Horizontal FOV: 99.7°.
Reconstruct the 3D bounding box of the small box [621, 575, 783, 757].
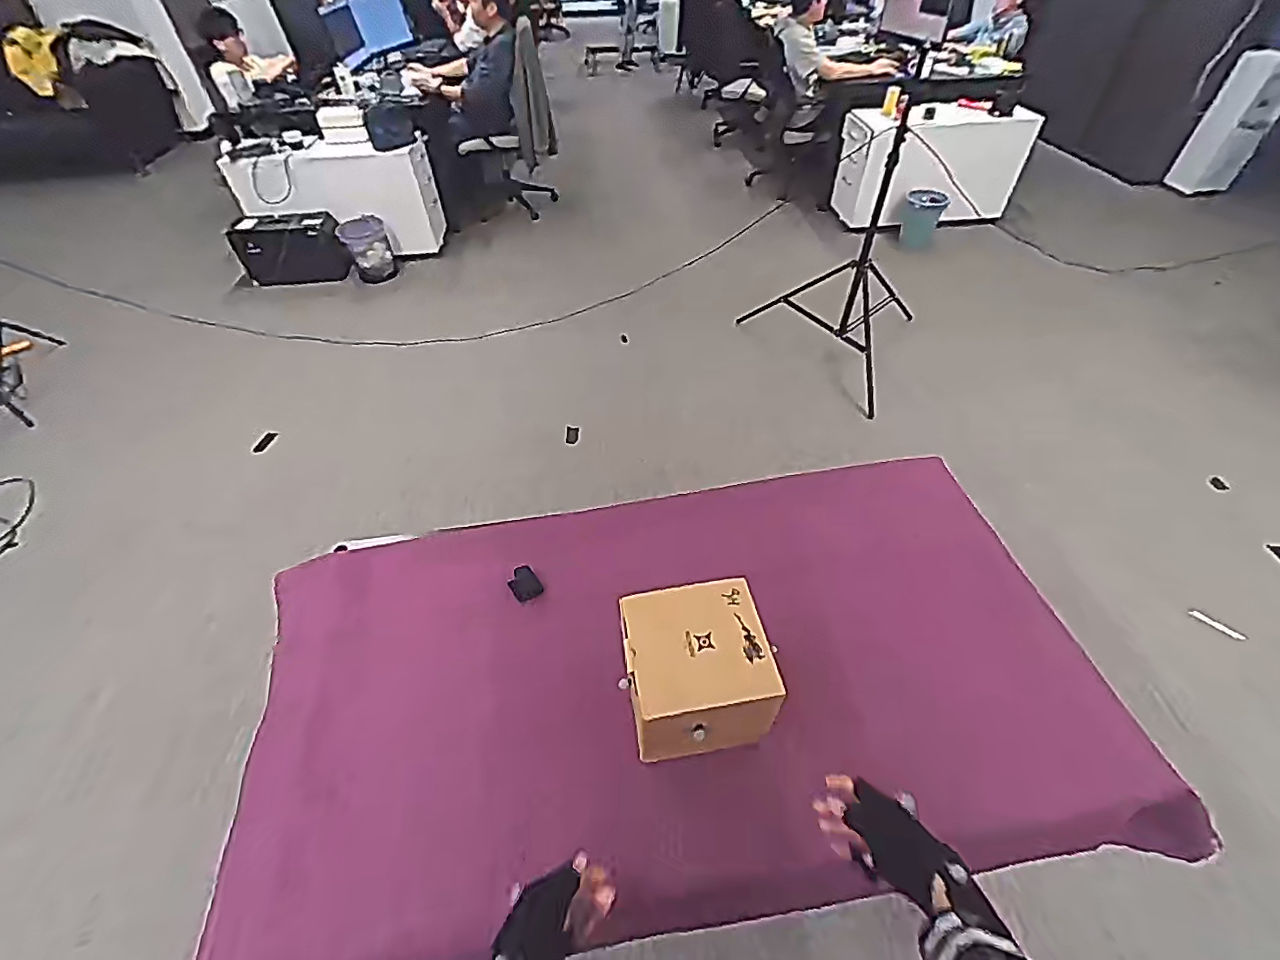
[{"bbox_3d":[0.076,0.256,0.737,0.179,0.176,0.168,-9,47,-5],"label":"small box"}]
